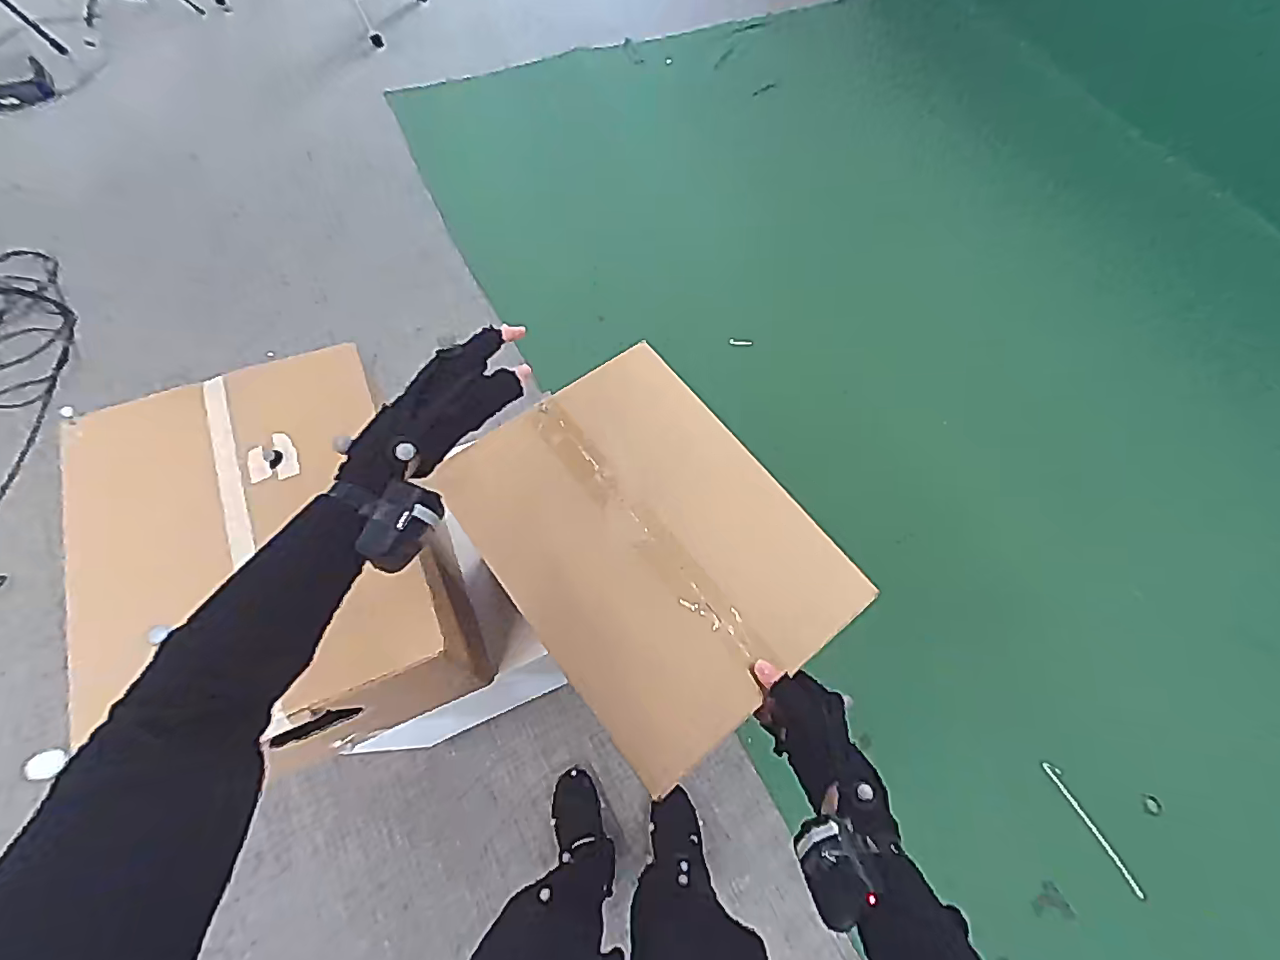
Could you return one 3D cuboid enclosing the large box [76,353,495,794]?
[{"bbox_3d":[-0.421,0.121,0.699,0.320,0.320,0.408,-20,66,-14],"label":"large box"}]
